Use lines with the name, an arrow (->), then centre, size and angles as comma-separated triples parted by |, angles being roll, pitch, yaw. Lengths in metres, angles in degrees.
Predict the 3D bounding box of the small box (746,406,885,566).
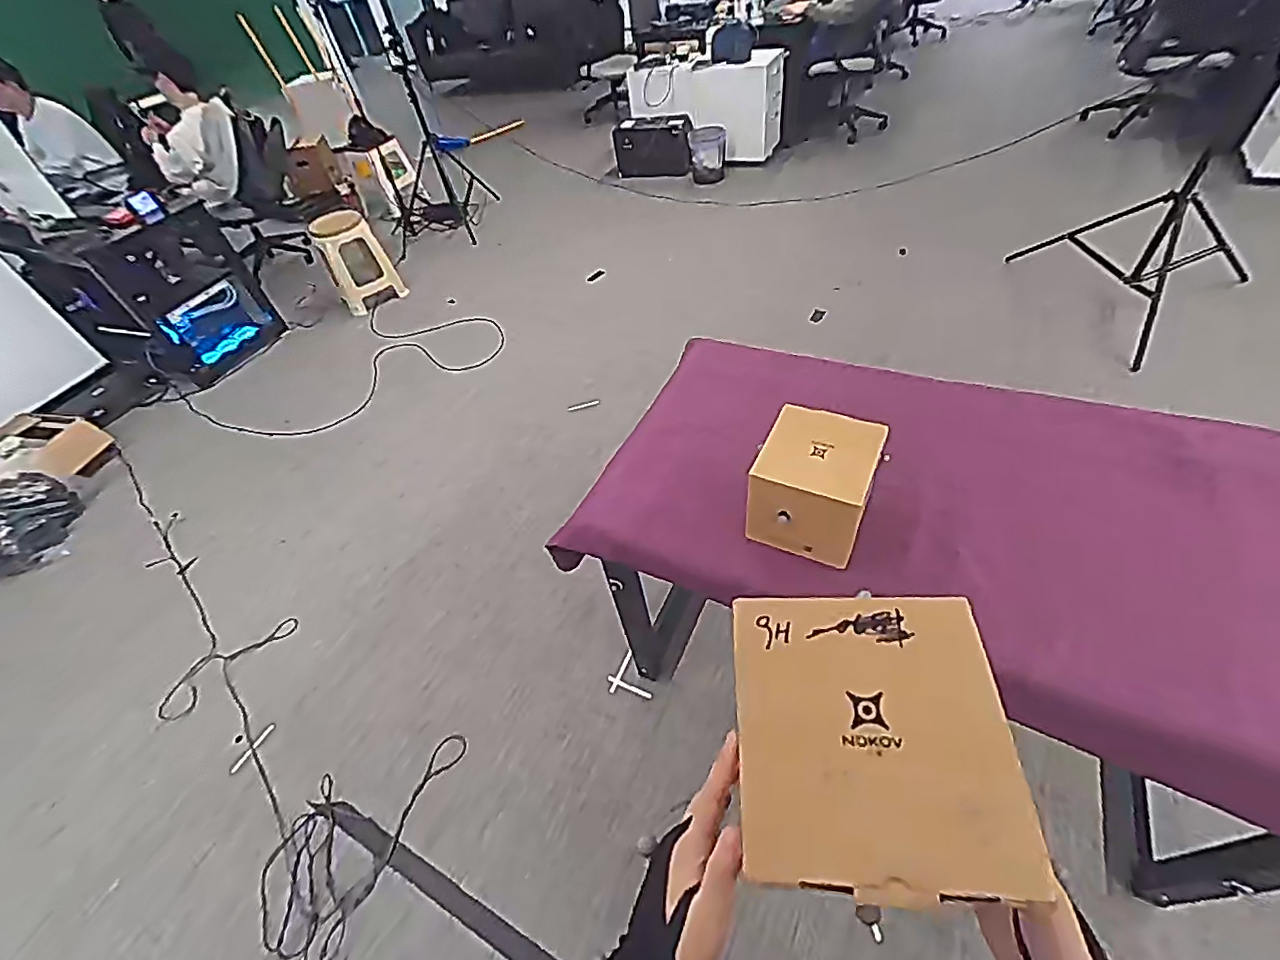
small box -> 0.281, 0.012, 0.883 | 0.168, 0.176, 0.179 | 18, 53, 23

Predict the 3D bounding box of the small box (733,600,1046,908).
small box -> 0.158, 0.206, 0.415 | 0.168, 0.176, 0.179 | -2, 54, 9
